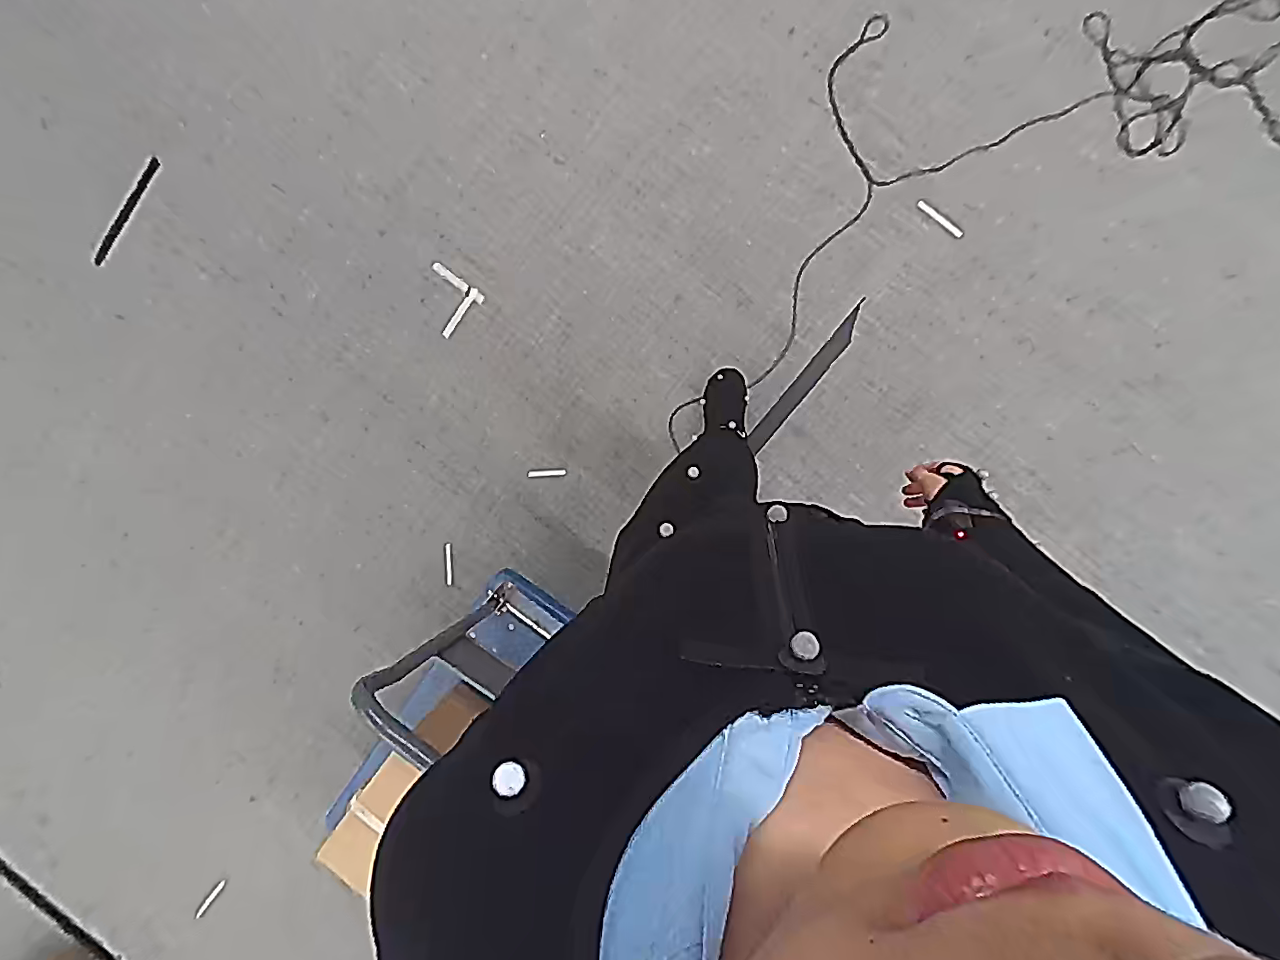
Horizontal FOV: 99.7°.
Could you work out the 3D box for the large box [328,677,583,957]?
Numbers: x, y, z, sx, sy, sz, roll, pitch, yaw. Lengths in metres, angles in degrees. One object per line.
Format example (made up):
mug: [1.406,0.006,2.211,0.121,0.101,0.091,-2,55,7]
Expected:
large box: [-0.401,0.748,1.263,0.408,0.320,0.320,37,96,2]
